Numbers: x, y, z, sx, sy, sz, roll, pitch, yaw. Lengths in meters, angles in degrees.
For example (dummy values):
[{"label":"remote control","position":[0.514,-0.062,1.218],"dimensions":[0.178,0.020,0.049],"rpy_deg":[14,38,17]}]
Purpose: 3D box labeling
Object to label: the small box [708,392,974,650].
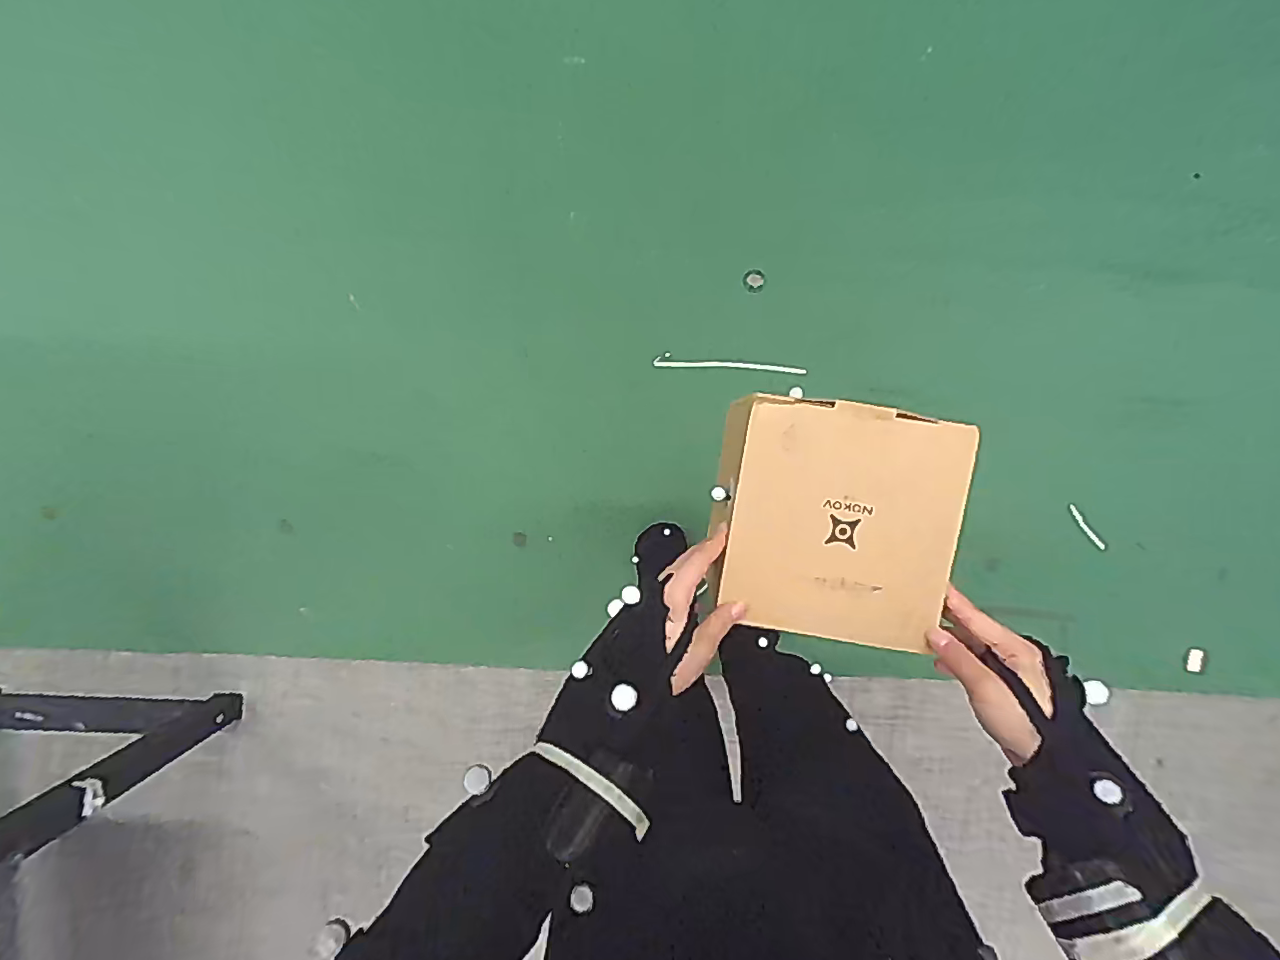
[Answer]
[{"label":"small box","position":[0.156,0.024,0.484],"dimensions":[0.168,0.176,0.179],"rpy_deg":[9,97,4]}]
